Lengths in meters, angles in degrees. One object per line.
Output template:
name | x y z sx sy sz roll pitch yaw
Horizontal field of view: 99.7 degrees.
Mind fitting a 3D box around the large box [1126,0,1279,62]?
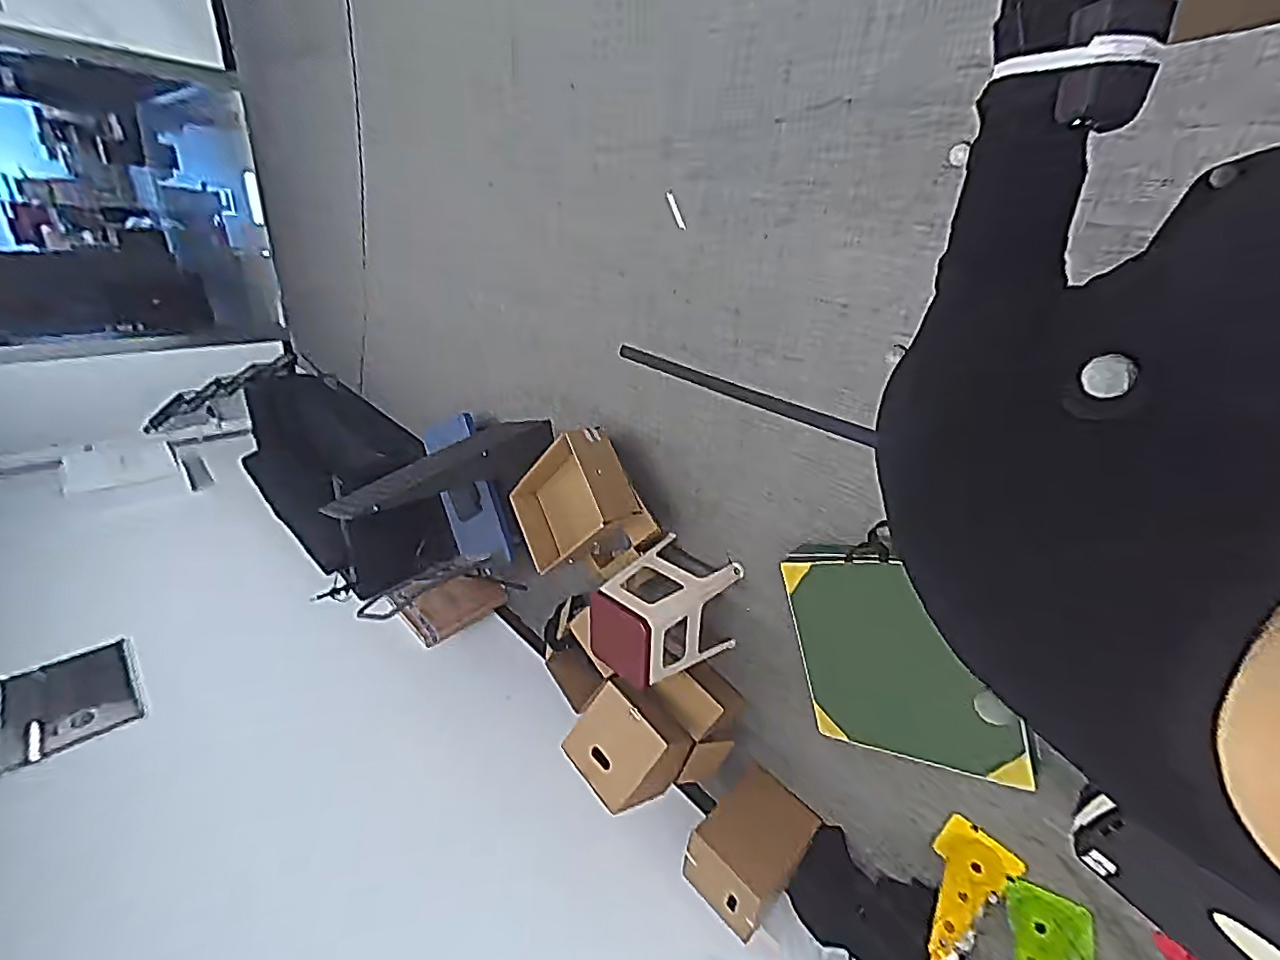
large box | 0.524 -0.446 0.243 0.408 0.320 0.320 18 124 39
